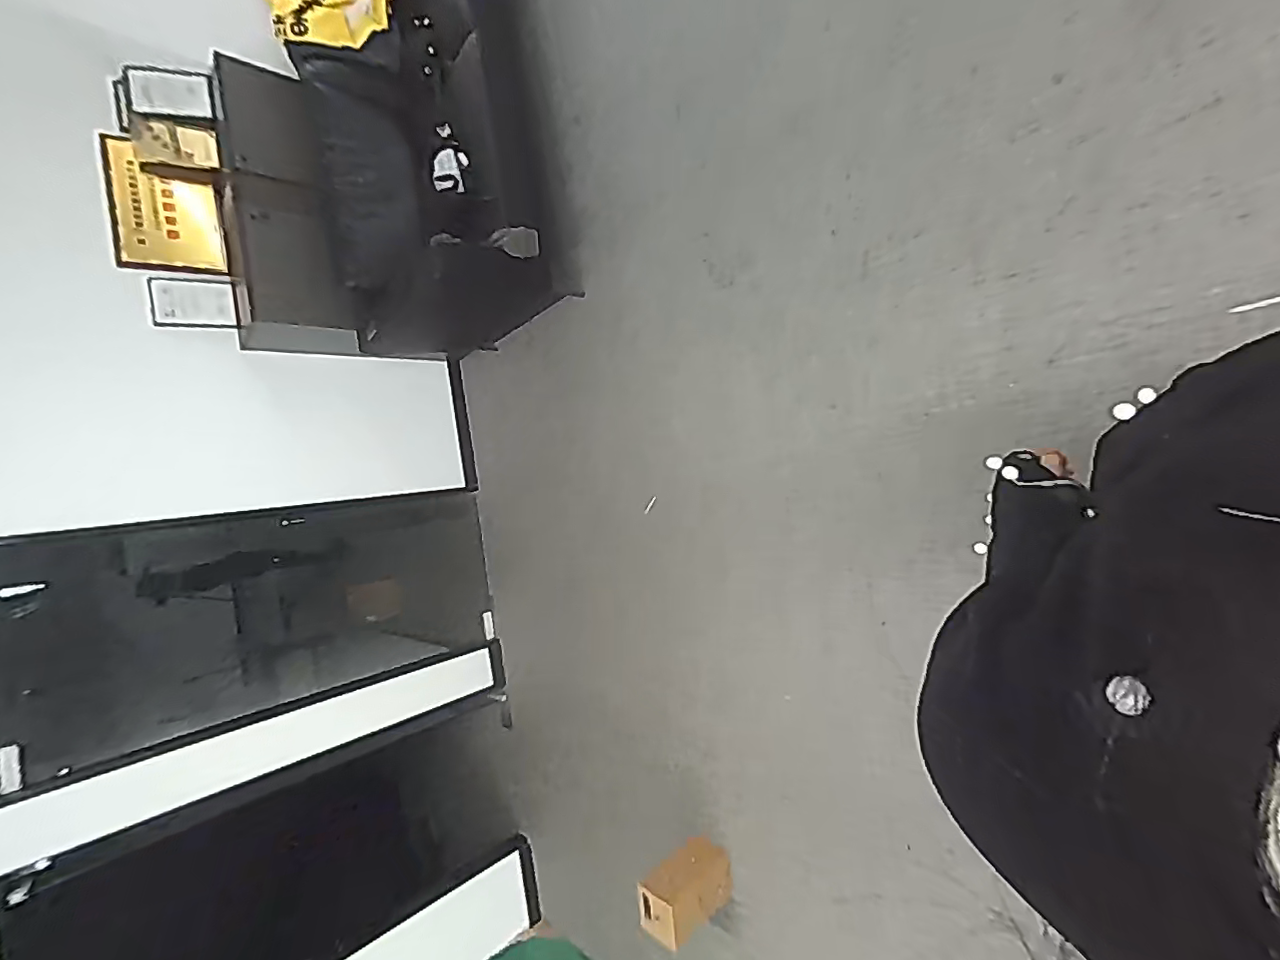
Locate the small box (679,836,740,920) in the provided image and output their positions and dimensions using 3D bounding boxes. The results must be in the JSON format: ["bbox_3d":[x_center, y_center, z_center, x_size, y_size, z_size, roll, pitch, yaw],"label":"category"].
[{"bbox_3d":[0.274,1.524,2.086,0.179,0.176,0.168,-1,94,47],"label":"small box"}]
